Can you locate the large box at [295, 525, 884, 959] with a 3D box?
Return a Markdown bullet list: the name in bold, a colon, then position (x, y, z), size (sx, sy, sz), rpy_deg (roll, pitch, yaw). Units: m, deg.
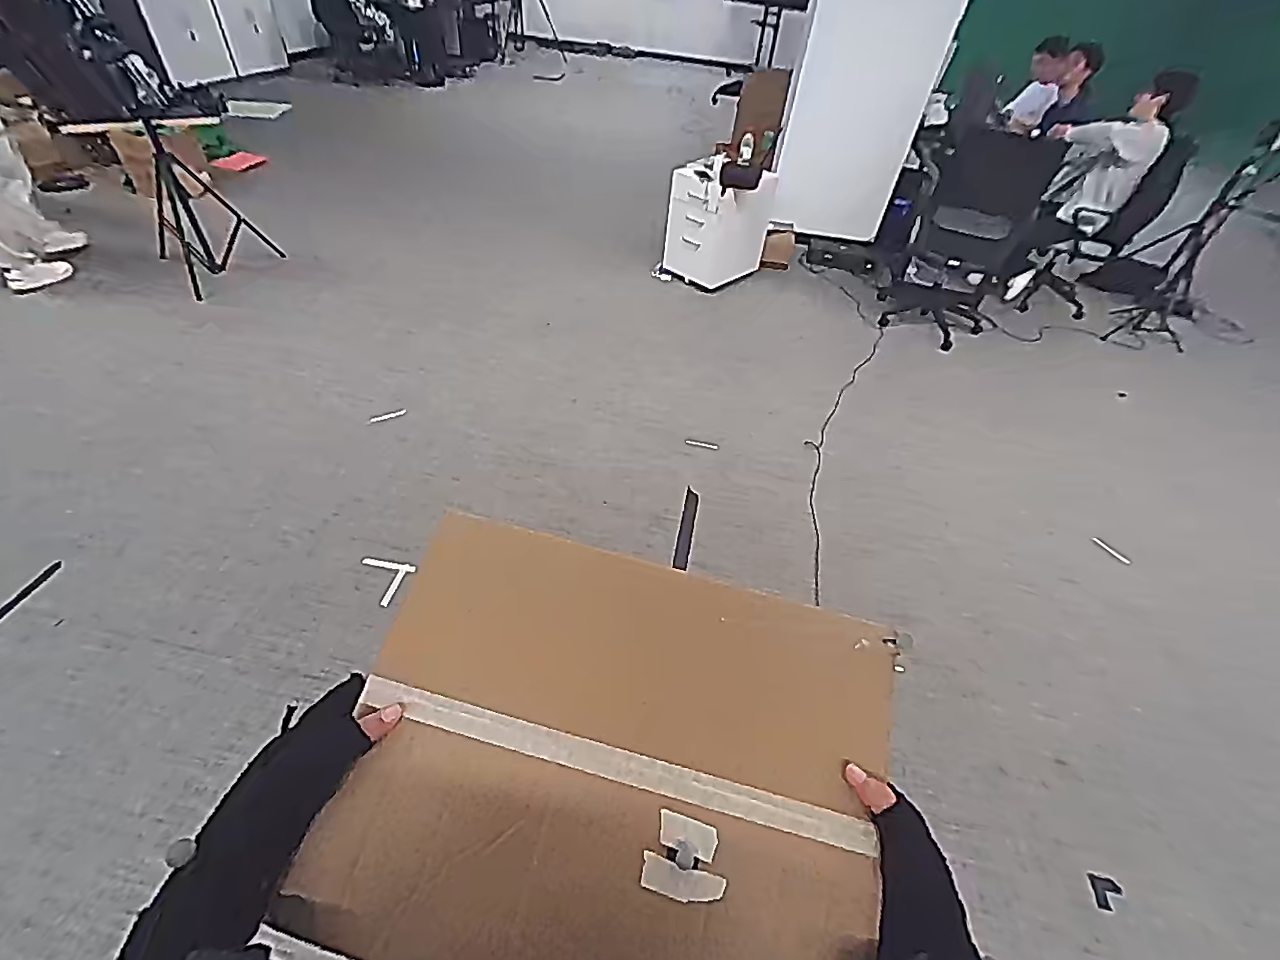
- **large box**: position (-0.022, 0.278, 0.559), size (0.408, 0.320, 0.320), rpy_deg (14, 67, 4)
